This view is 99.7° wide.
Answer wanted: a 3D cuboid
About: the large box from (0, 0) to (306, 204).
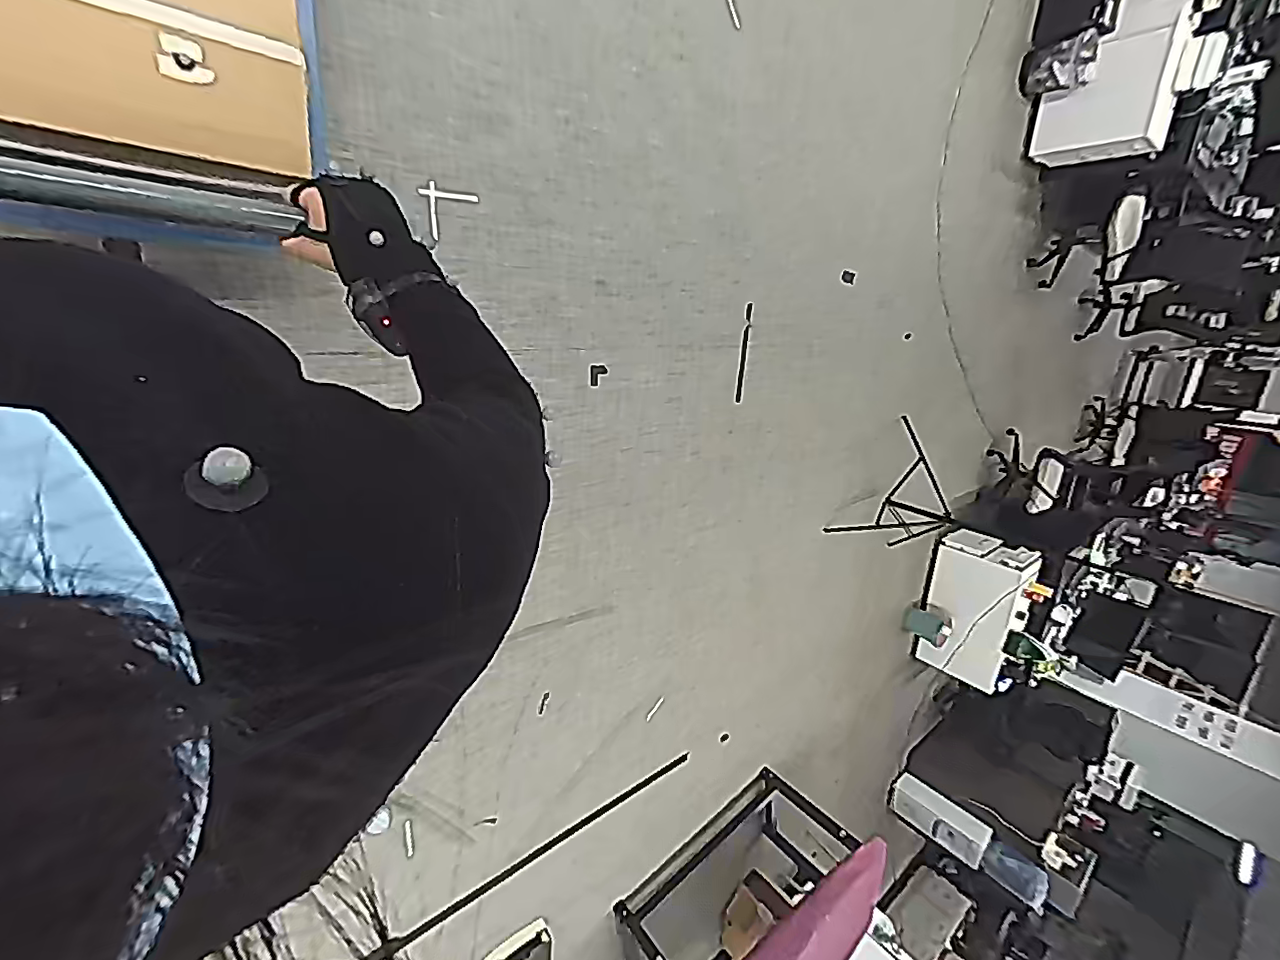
[{"bbox_3d":[-0.738,-0.600,0.748,0.408,0.320,0.320,-10,112,-40],"label":"large box"}]
